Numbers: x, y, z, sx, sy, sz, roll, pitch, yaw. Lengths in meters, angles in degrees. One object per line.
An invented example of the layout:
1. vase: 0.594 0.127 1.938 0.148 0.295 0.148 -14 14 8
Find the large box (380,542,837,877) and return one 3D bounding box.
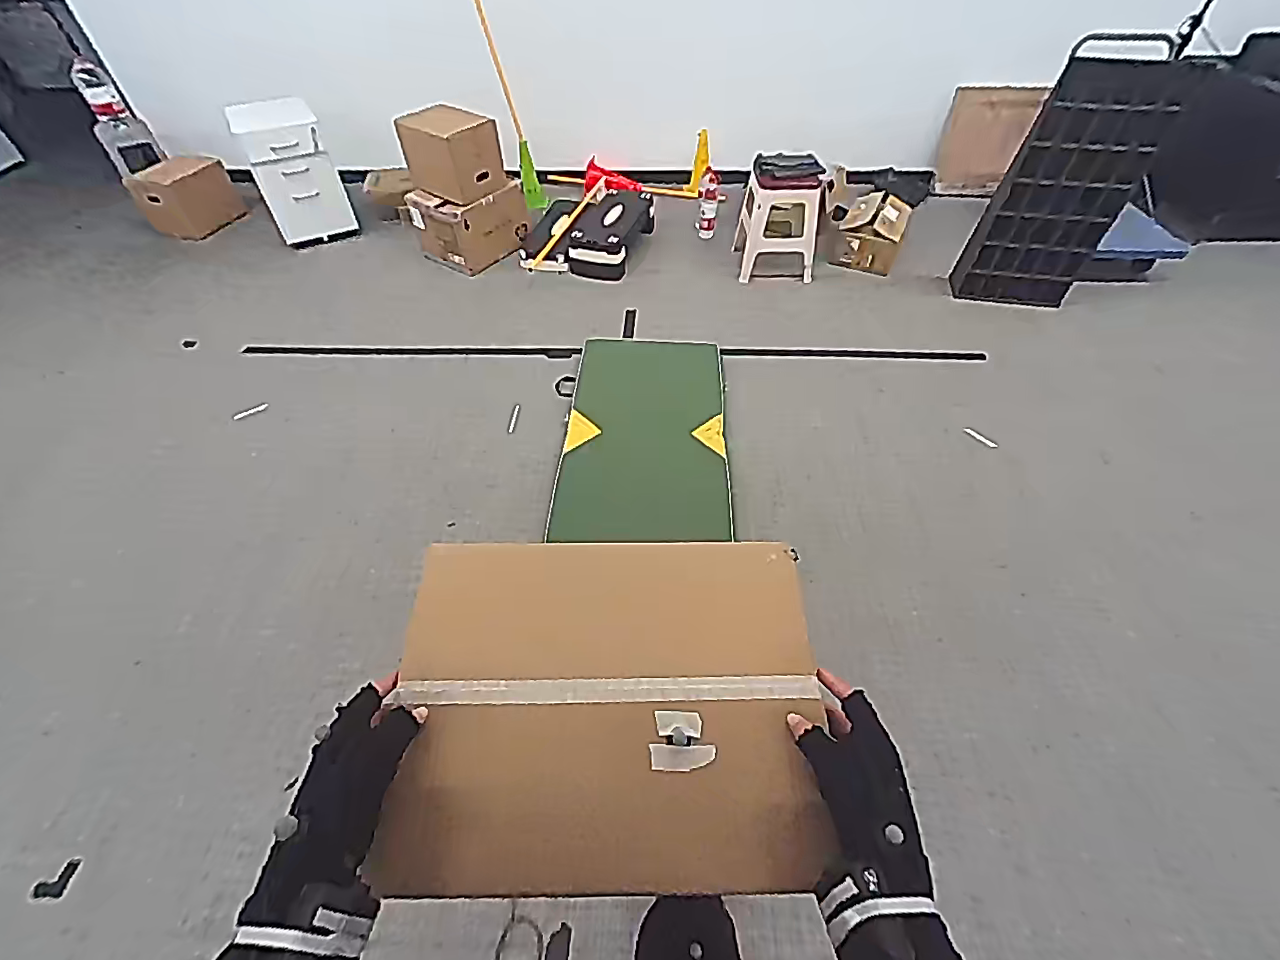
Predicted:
1. large box: -0.032 0.284 0.667 0.408 0.320 0.320 0 57 -1
